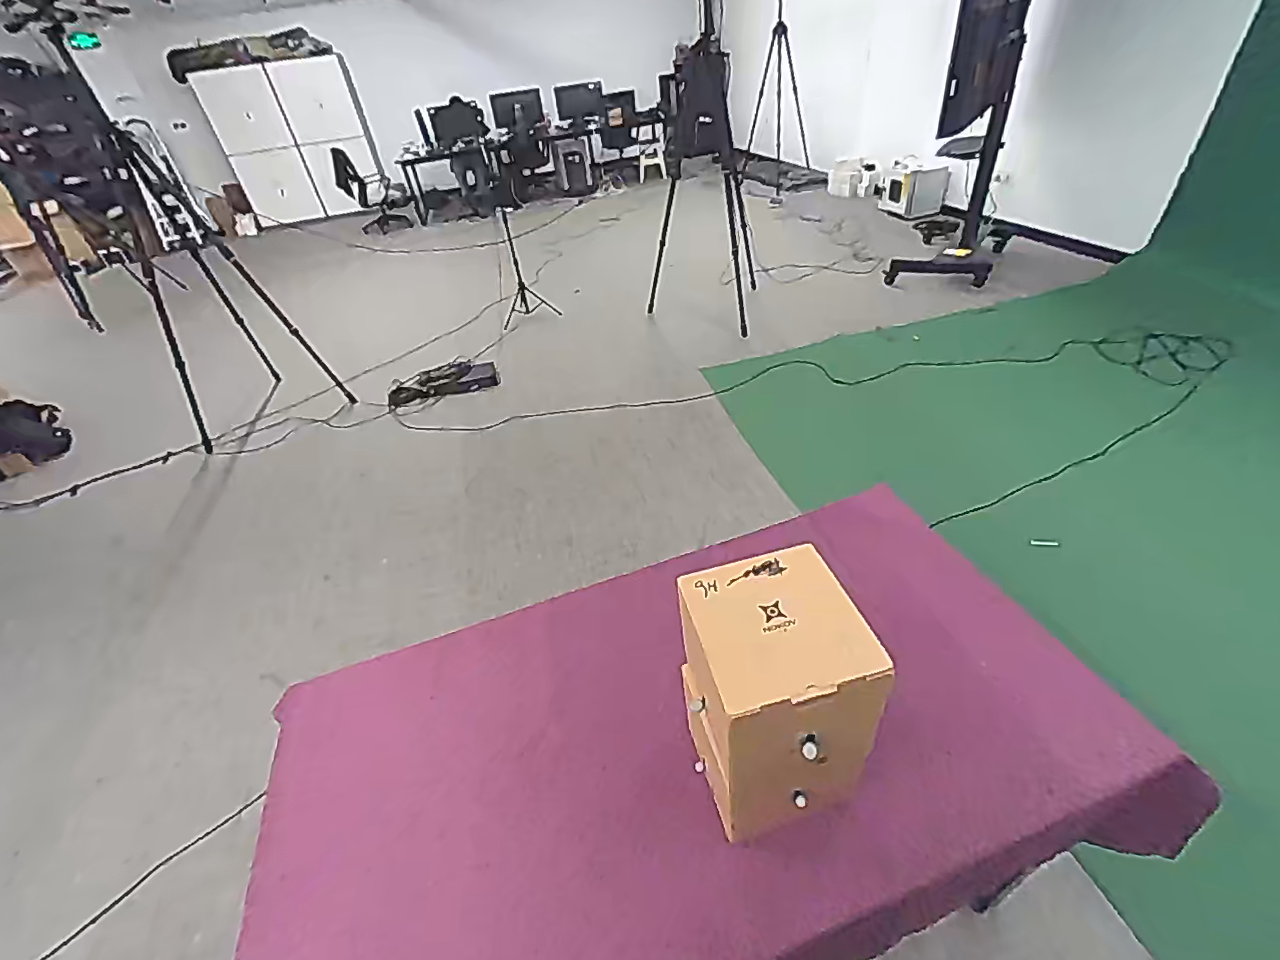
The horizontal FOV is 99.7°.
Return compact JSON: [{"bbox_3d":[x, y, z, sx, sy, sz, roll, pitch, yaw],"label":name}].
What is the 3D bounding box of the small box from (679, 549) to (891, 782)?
[{"bbox_3d":[0.149,0.211,0.607,0.168,0.176,0.179,-13,39,-5],"label":"small box"}]
